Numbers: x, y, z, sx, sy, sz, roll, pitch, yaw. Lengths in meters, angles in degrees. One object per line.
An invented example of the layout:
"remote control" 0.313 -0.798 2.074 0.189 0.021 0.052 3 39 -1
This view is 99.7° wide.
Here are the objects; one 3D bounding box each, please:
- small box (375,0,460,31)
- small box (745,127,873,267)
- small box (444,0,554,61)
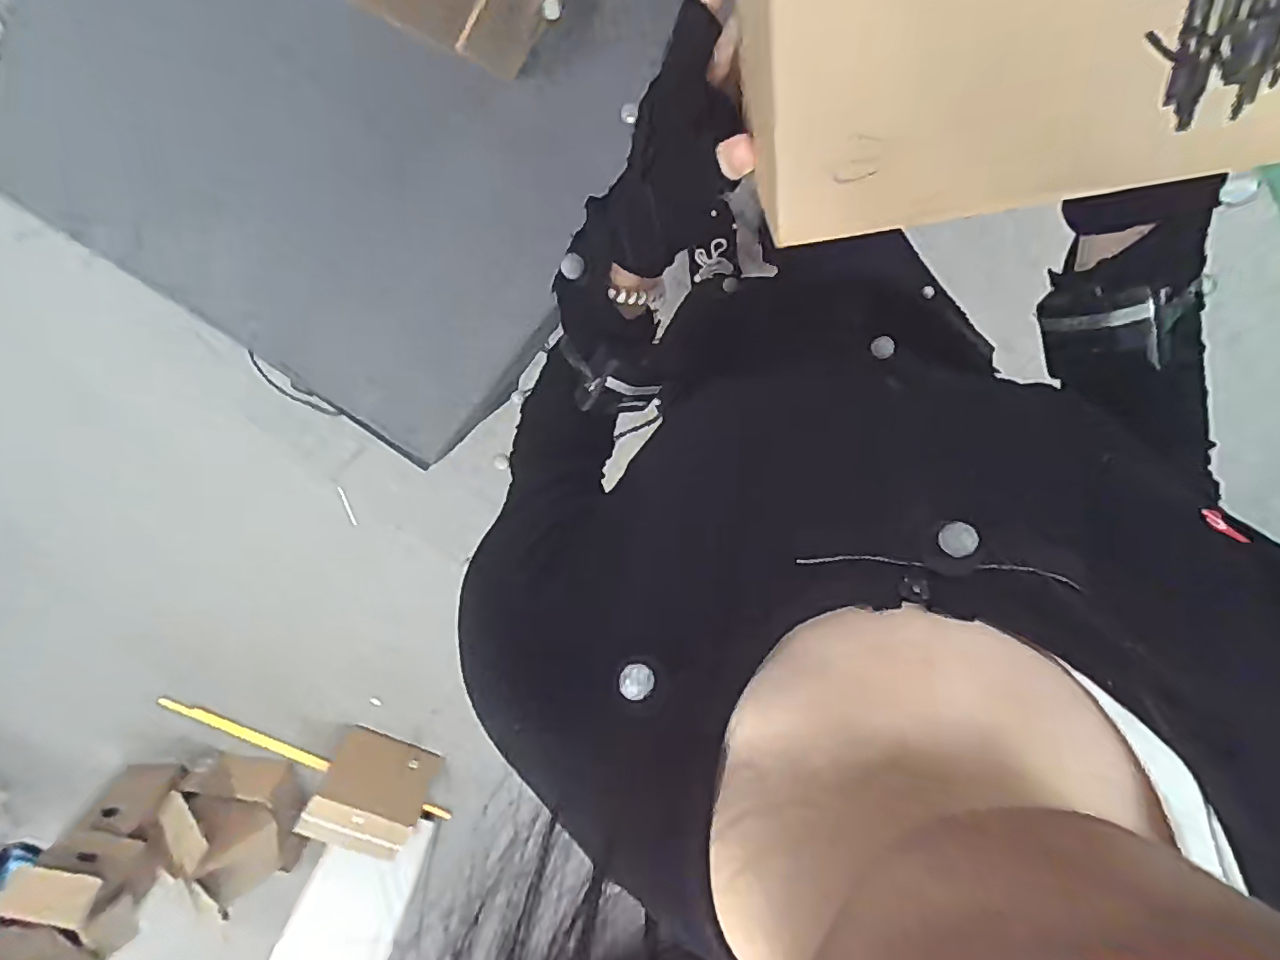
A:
"small box" -0.166 -0.406 0.294 0.168 0.176 0.179 37 115 -15
"small box" 0.354 -0.603 1.170 0.179 0.176 0.168 -32 85 -8
"small box" -0.152 -0.487 0.436 0.179 0.176 0.168 39 115 -17
